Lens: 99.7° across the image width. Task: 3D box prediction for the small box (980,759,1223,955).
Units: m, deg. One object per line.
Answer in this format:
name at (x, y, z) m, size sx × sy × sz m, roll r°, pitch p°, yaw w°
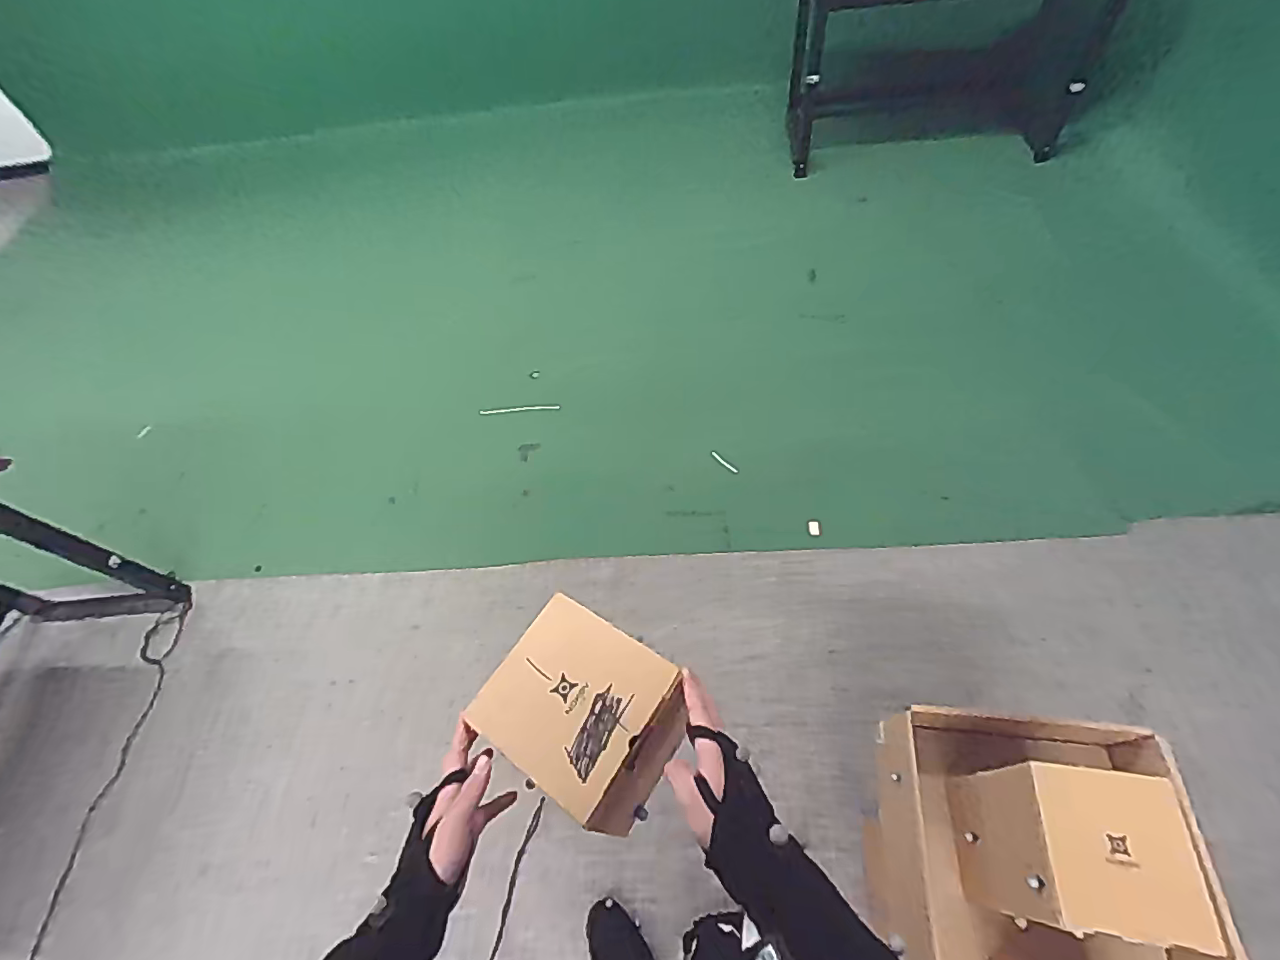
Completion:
small box at (0.581, 0.483, 0.716) m, size 0.168 × 0.176 × 0.179 m, roll 3°, pitch 60°, yaw 10°
